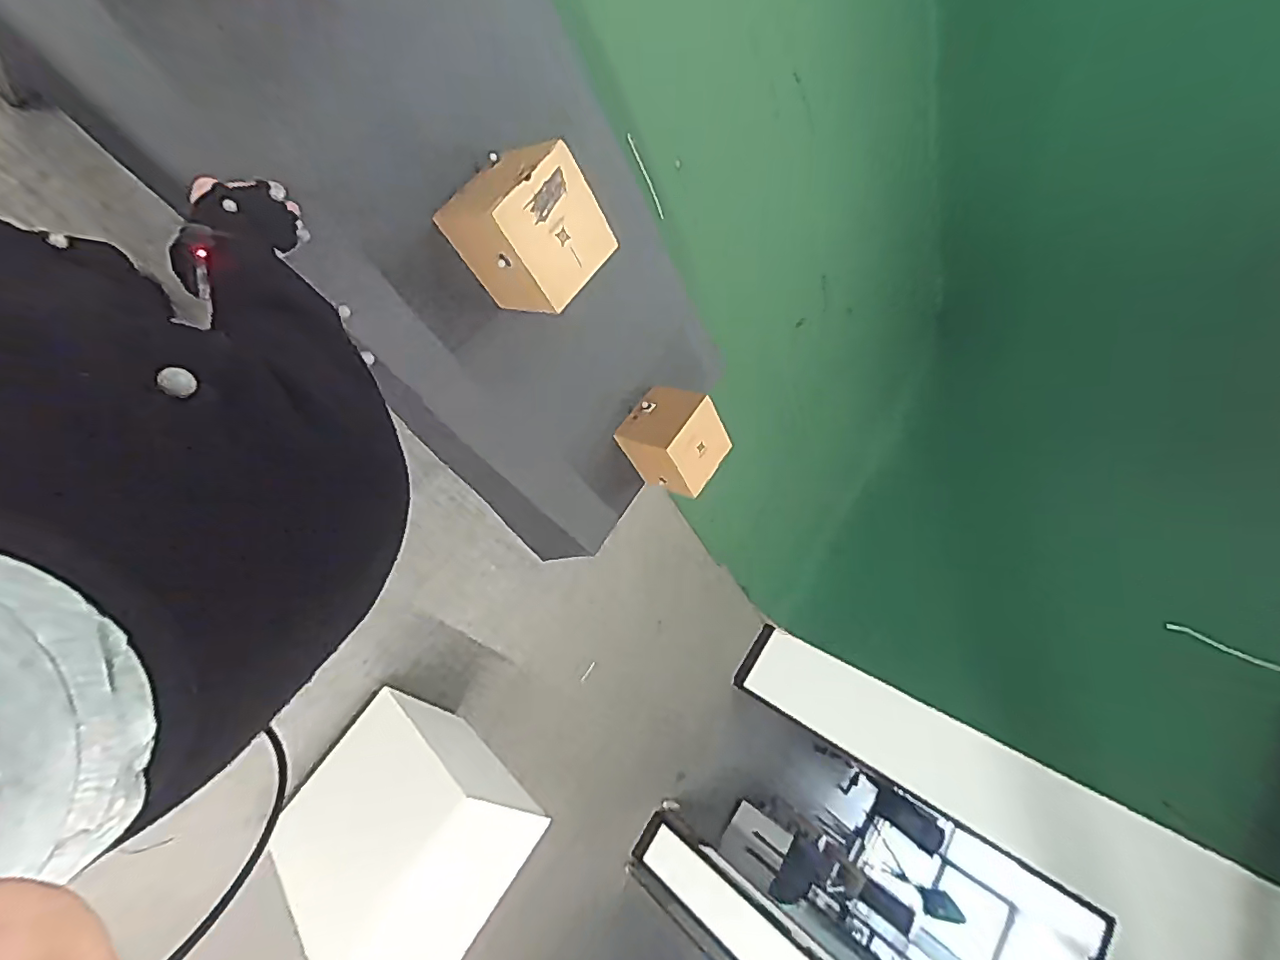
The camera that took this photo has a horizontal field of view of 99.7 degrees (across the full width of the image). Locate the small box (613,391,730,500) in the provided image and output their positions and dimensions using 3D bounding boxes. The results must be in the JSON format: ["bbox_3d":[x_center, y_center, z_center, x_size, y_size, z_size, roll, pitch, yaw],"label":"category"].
[{"bbox_3d":[0.072,-0.085,1.235,0.168,0.176,0.179,-54,136,-18],"label":"small box"}]

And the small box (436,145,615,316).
[{"bbox_3d":[-0.178,-0.380,0.841,0.168,0.176,0.179,-54,138,-17],"label":"small box"}]
